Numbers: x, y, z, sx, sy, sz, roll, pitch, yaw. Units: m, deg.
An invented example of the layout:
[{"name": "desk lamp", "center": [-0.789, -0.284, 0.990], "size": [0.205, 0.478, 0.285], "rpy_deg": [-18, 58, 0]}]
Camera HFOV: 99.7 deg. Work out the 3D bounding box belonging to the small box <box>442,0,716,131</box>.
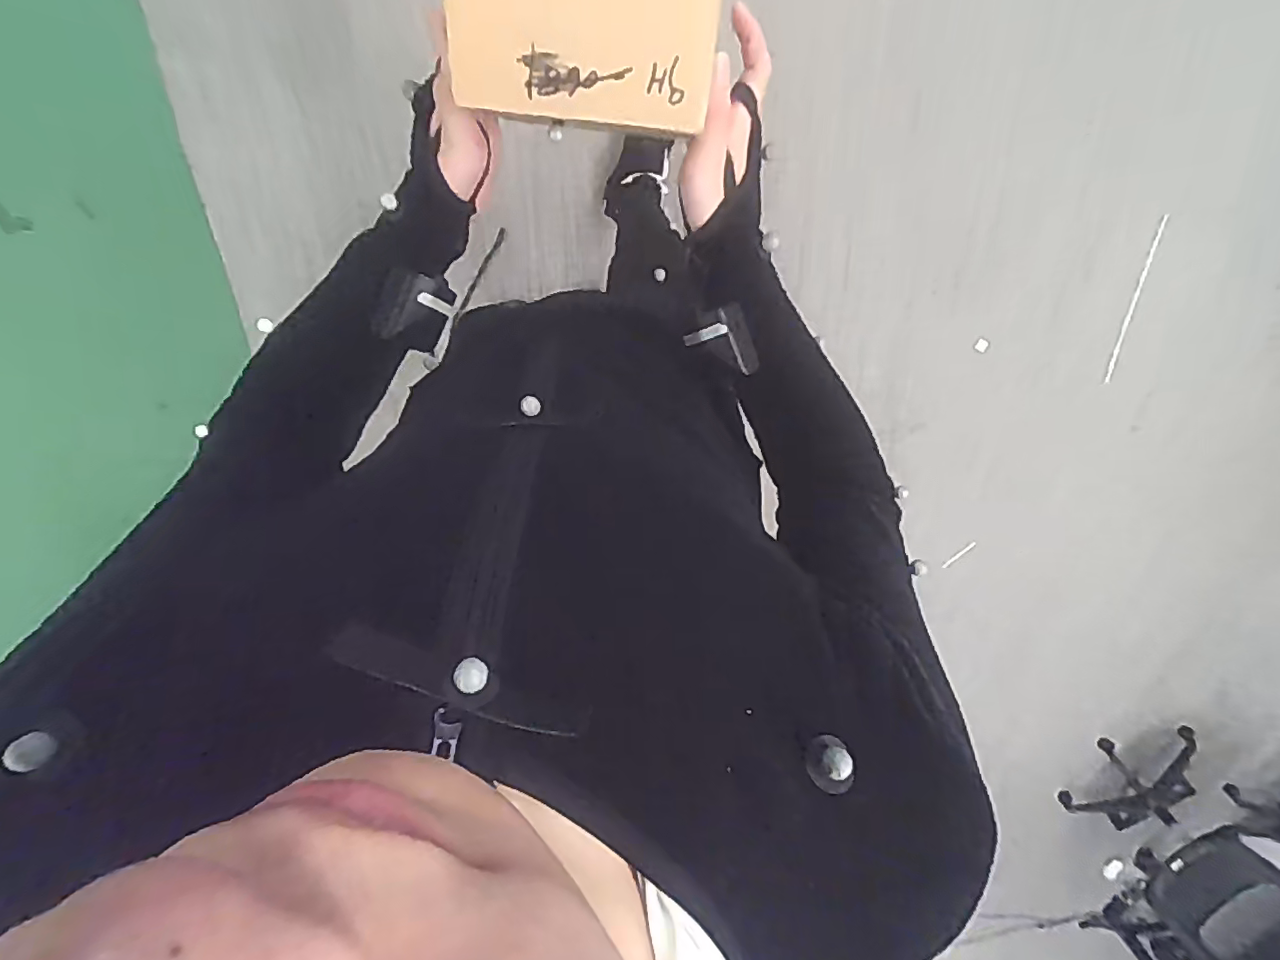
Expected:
[{"name": "small box", "center": [-0.036, -0.356, 0.375], "size": [0.168, 0.176, 0.179], "rpy_deg": [3, 121, -4]}]
